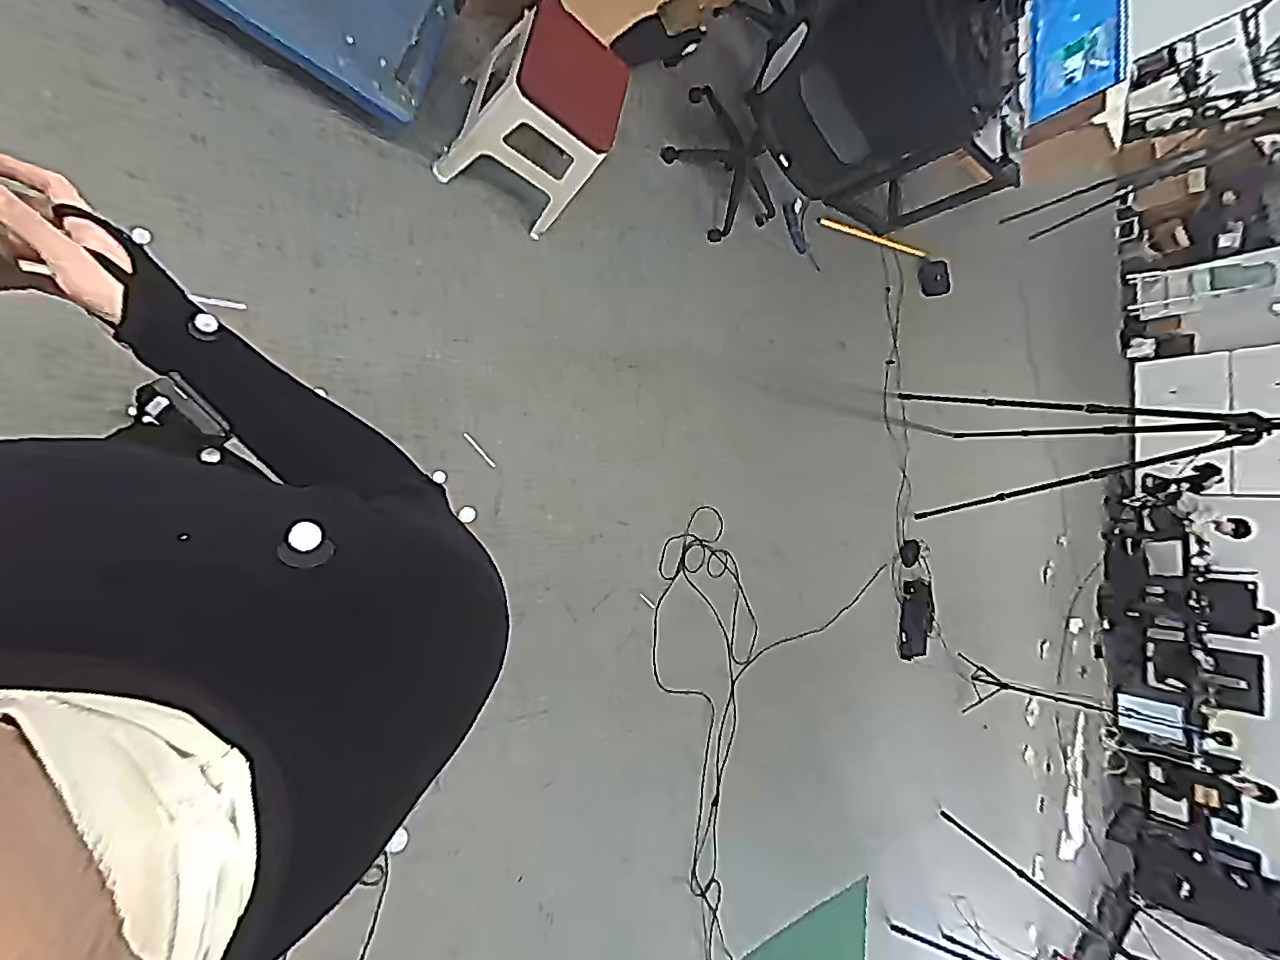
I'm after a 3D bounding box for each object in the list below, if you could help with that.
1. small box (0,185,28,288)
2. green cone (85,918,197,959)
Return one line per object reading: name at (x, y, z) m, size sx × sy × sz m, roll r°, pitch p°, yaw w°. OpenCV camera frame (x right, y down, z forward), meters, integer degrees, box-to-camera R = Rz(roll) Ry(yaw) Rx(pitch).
small box at (-0.547, -0.230, 0.342) m, size 0.168 × 0.176 × 0.179 m, roll -19°, pitch 104°, yaw -39°
green cone at (-1.018, 1.123, 1.080) m, size 0.202 × 0.368 × 0.200 m, roll 3°, pitch 88°, yaw -39°
